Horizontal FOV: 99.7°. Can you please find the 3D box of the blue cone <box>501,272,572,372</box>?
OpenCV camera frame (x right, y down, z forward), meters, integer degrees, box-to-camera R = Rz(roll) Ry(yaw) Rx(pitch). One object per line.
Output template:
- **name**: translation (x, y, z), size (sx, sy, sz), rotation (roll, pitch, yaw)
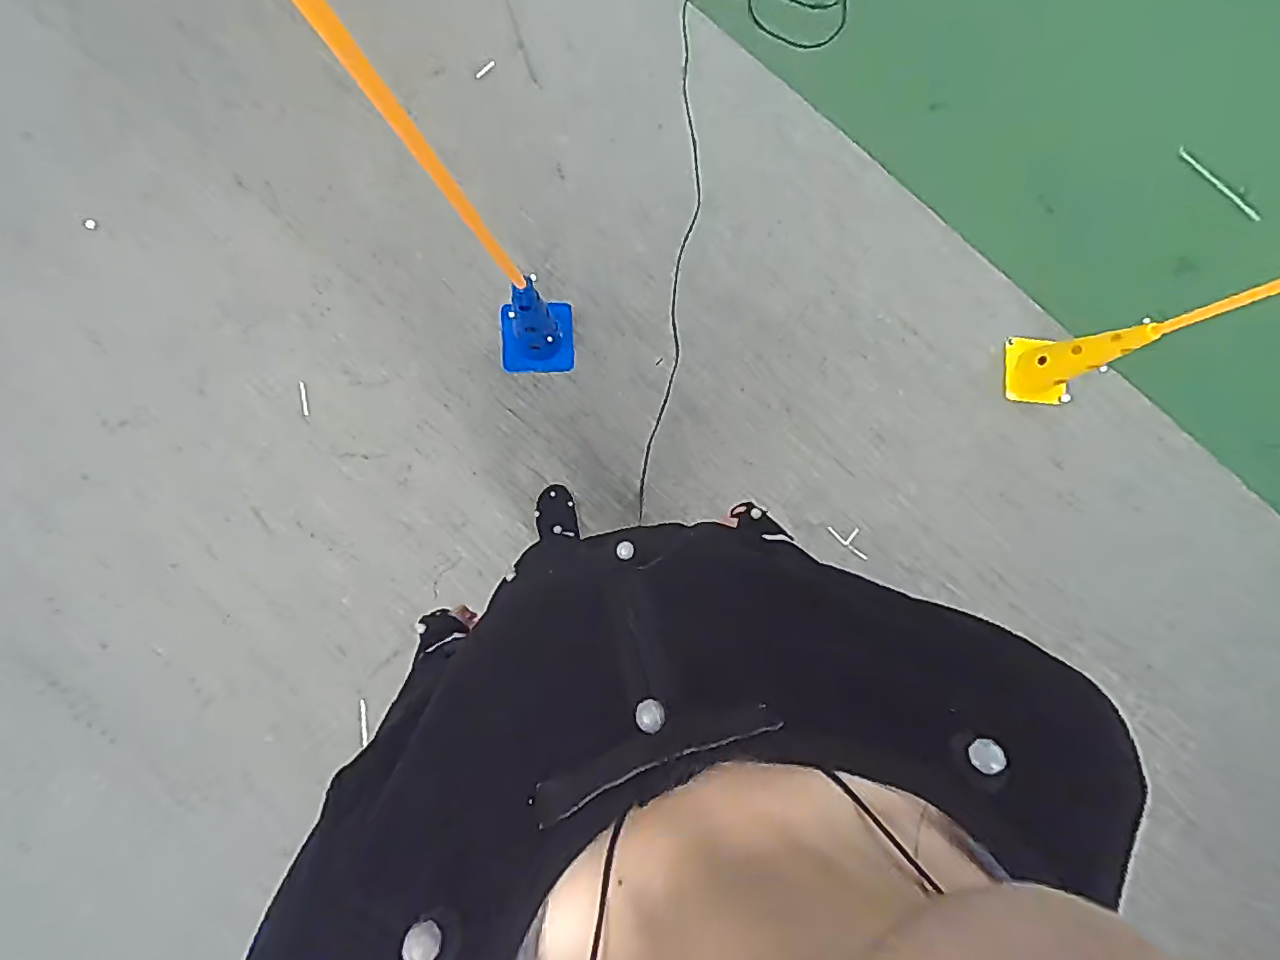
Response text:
- **blue cone**: translation (-0.276, -0.408, 1.342), size (0.193, 0.380, 0.192), rotation (-5, 87, -4)
